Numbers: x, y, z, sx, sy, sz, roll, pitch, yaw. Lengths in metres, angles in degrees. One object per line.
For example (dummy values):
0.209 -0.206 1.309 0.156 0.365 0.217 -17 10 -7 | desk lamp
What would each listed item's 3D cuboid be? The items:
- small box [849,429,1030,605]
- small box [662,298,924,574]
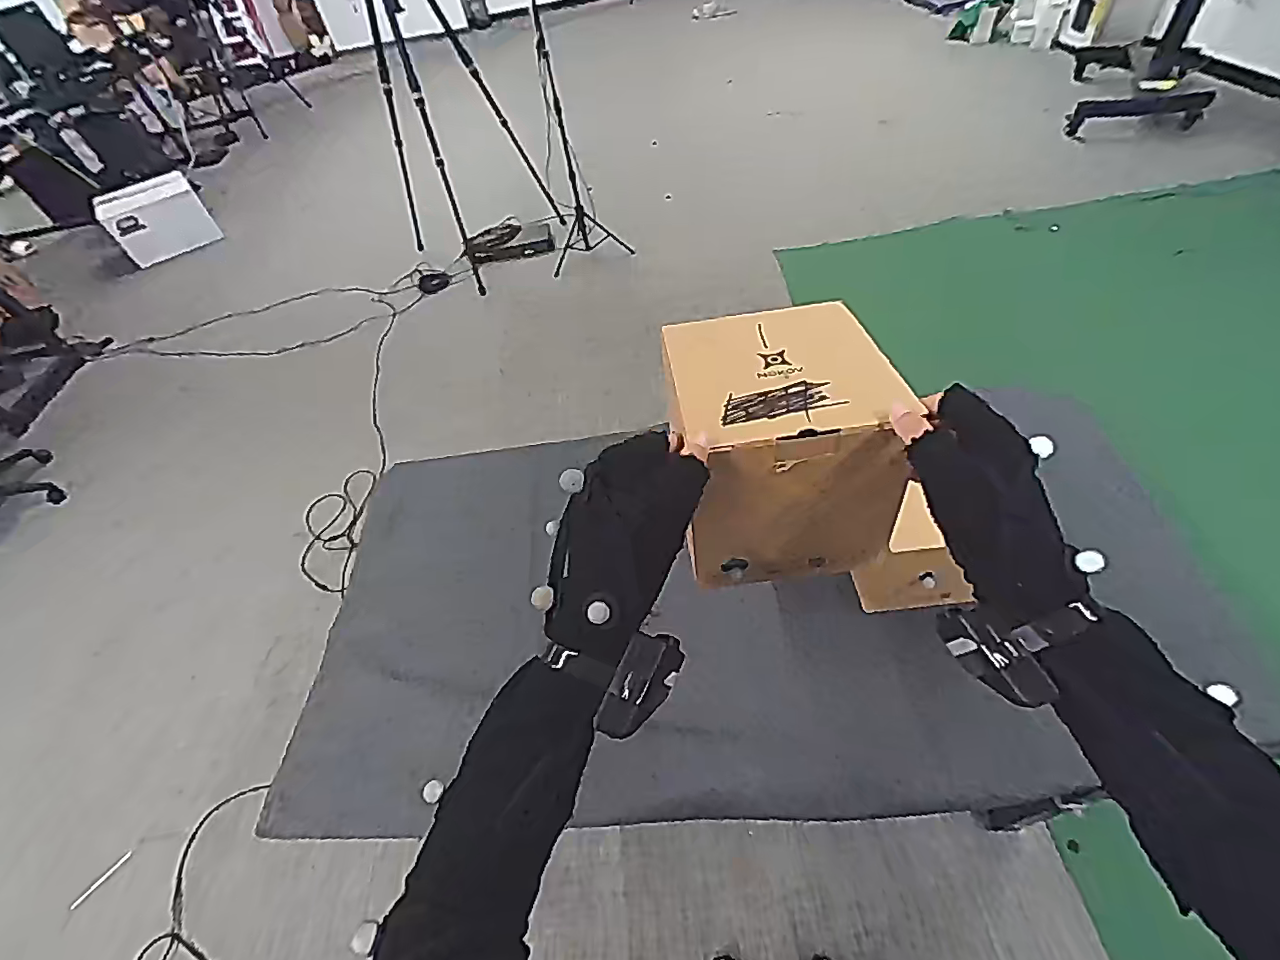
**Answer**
0.379 0.059 0.741 0.168 0.176 0.179 -8 50 4 | small box
0.115 -0.032 0.475 0.168 0.176 0.179 -8 44 2 | small box
